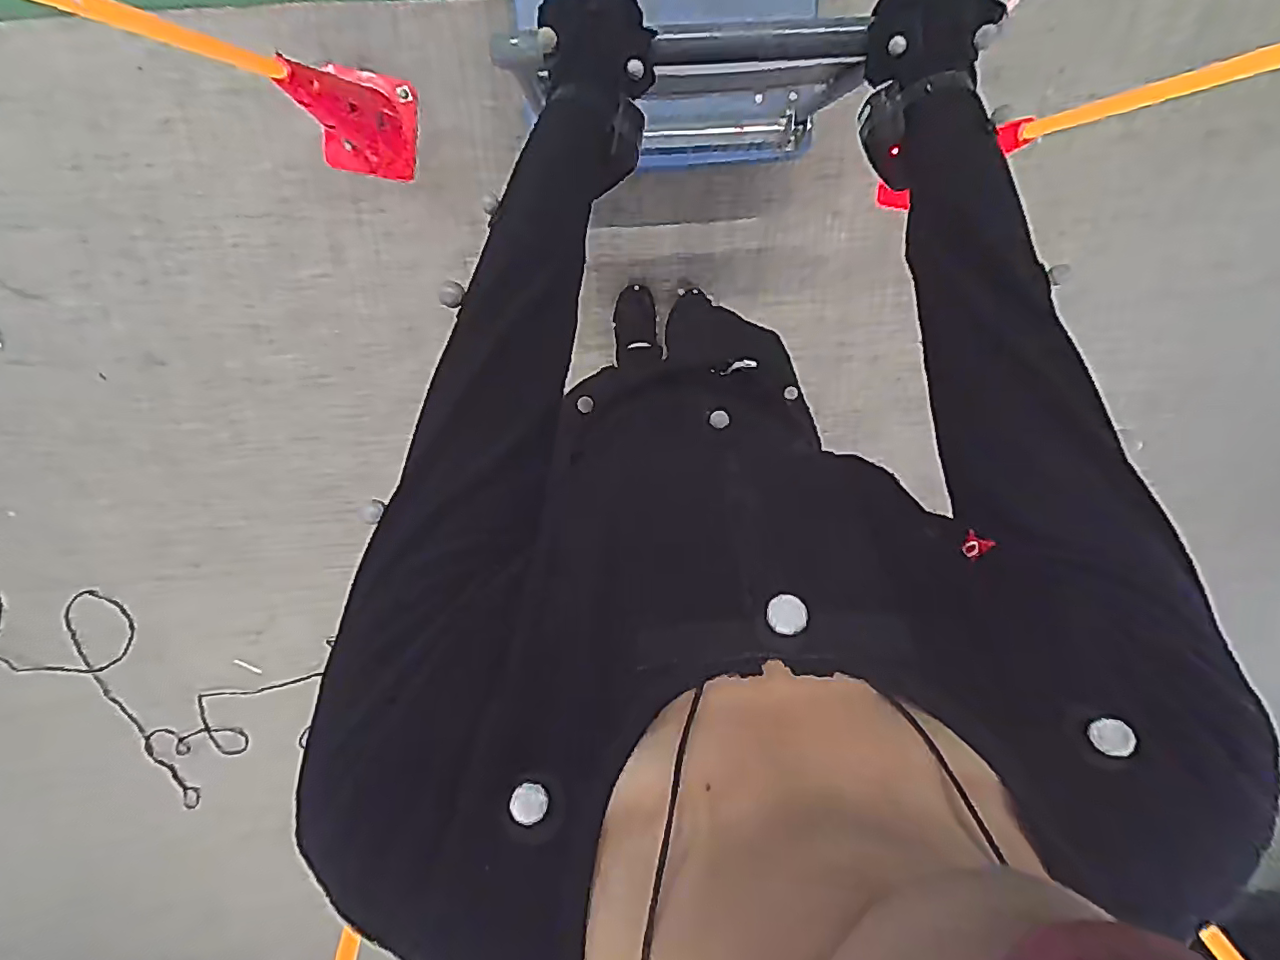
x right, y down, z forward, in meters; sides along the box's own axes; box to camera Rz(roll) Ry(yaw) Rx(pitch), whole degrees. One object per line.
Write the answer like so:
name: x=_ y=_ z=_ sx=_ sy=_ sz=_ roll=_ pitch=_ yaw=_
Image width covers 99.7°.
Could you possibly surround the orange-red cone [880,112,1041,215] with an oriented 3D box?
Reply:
orange-red cone: x=0.694 y=-0.689 z=1.130 sx=0.198 sy=0.360 sz=0.199 roll=7 pitch=111 yaw=-5
